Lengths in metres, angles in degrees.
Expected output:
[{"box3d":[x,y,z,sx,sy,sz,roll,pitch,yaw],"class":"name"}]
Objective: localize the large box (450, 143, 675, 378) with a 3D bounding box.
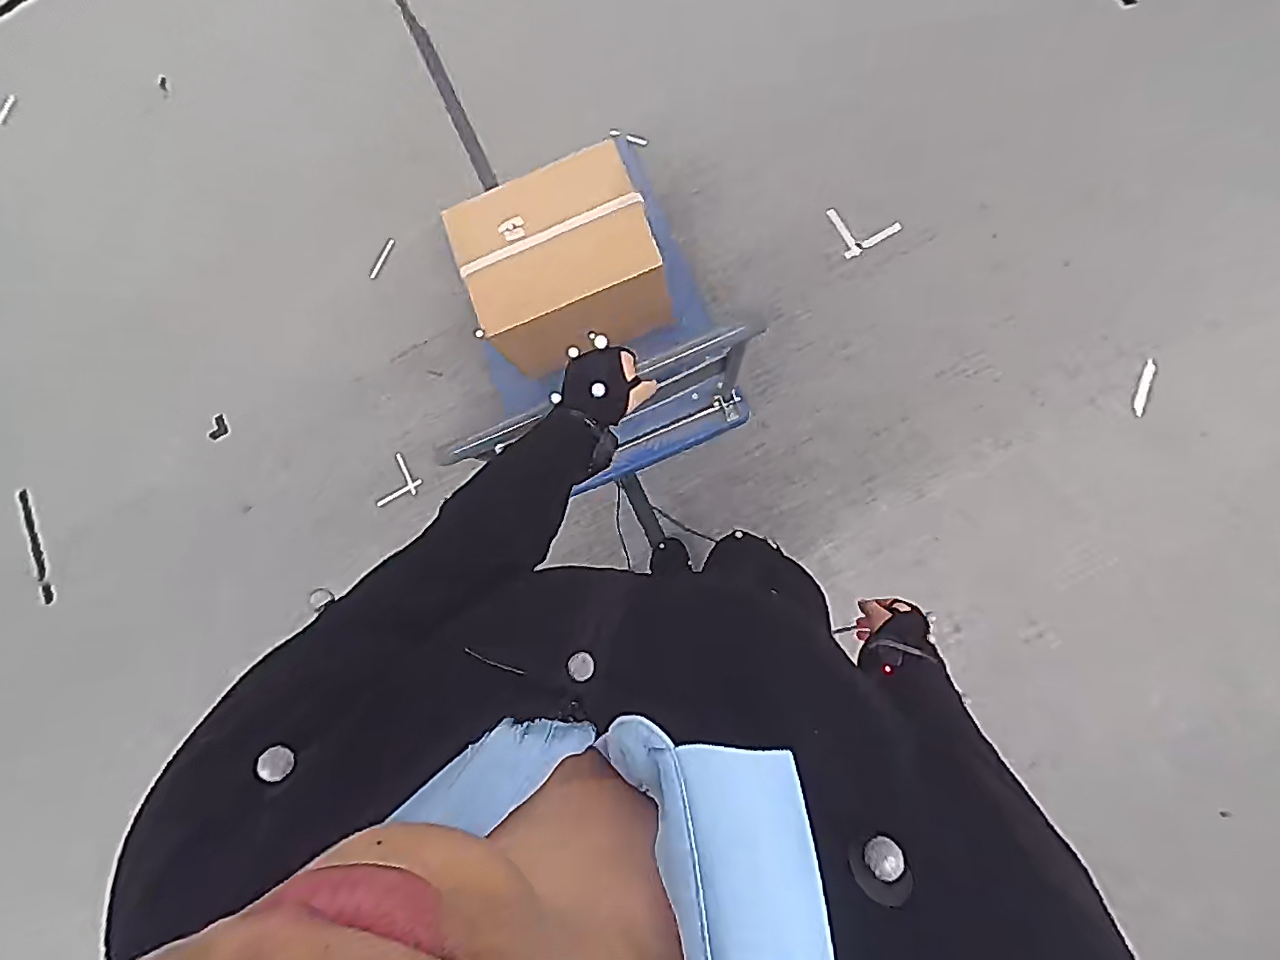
[{"box3d":[-0.163,-0.493,1.293,0.408,0.320,0.320,-21,80,6],"class":"large box"}]
